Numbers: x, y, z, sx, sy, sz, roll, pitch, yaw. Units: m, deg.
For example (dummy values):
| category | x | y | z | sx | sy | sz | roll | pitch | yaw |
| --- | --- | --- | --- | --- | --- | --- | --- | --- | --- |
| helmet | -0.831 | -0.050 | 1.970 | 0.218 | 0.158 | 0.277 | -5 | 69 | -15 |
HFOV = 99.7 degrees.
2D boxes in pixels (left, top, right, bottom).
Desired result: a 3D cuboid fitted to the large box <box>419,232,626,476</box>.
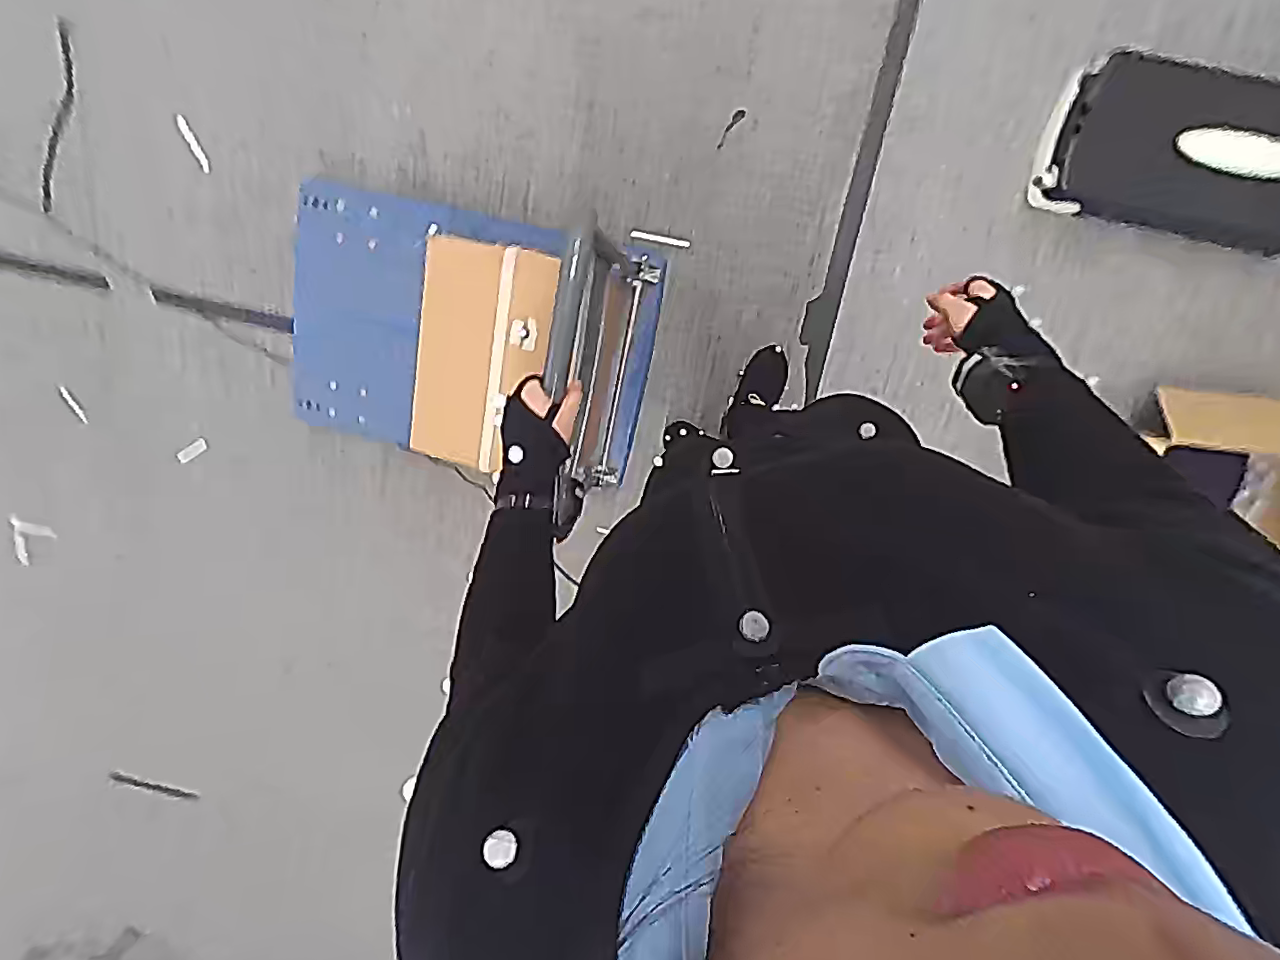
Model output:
| category | x | y | z | sx | sy | sz | roll | pitch | yaw |
| --- | --- | --- | --- | --- | --- | --- | --- | --- | --- |
| large box | -0.234 | -0.259 | 1.149 | 0.320 | 0.320 | 0.408 | 13 | 106 | 4 |
